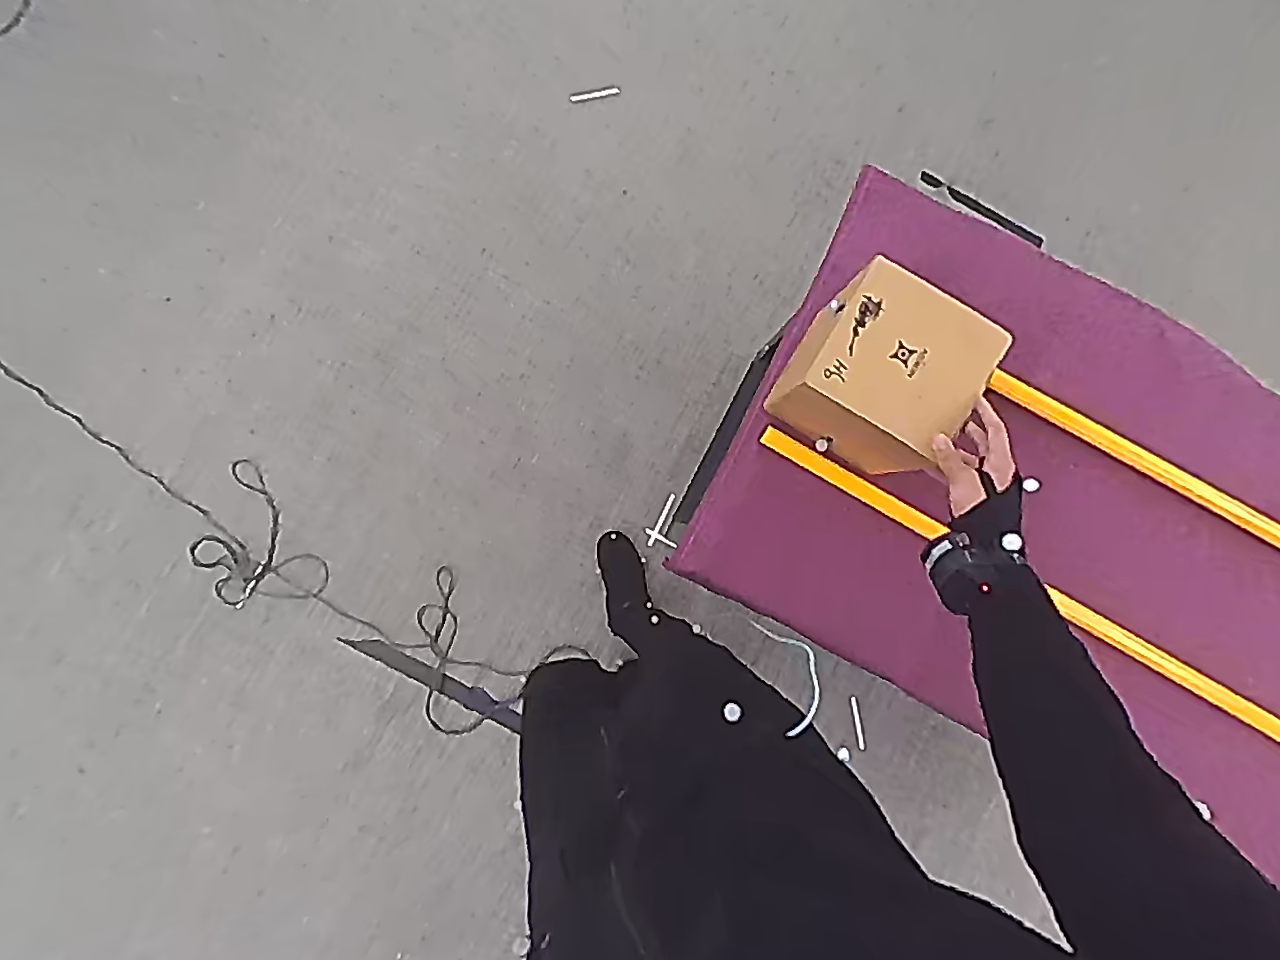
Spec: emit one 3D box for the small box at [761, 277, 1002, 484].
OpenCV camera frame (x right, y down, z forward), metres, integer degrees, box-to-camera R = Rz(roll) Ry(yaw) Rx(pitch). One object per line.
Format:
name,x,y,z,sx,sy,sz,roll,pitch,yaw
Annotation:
small box,0.280,-0.108,0.666,0.179,0.176,0.168,32,87,-1
